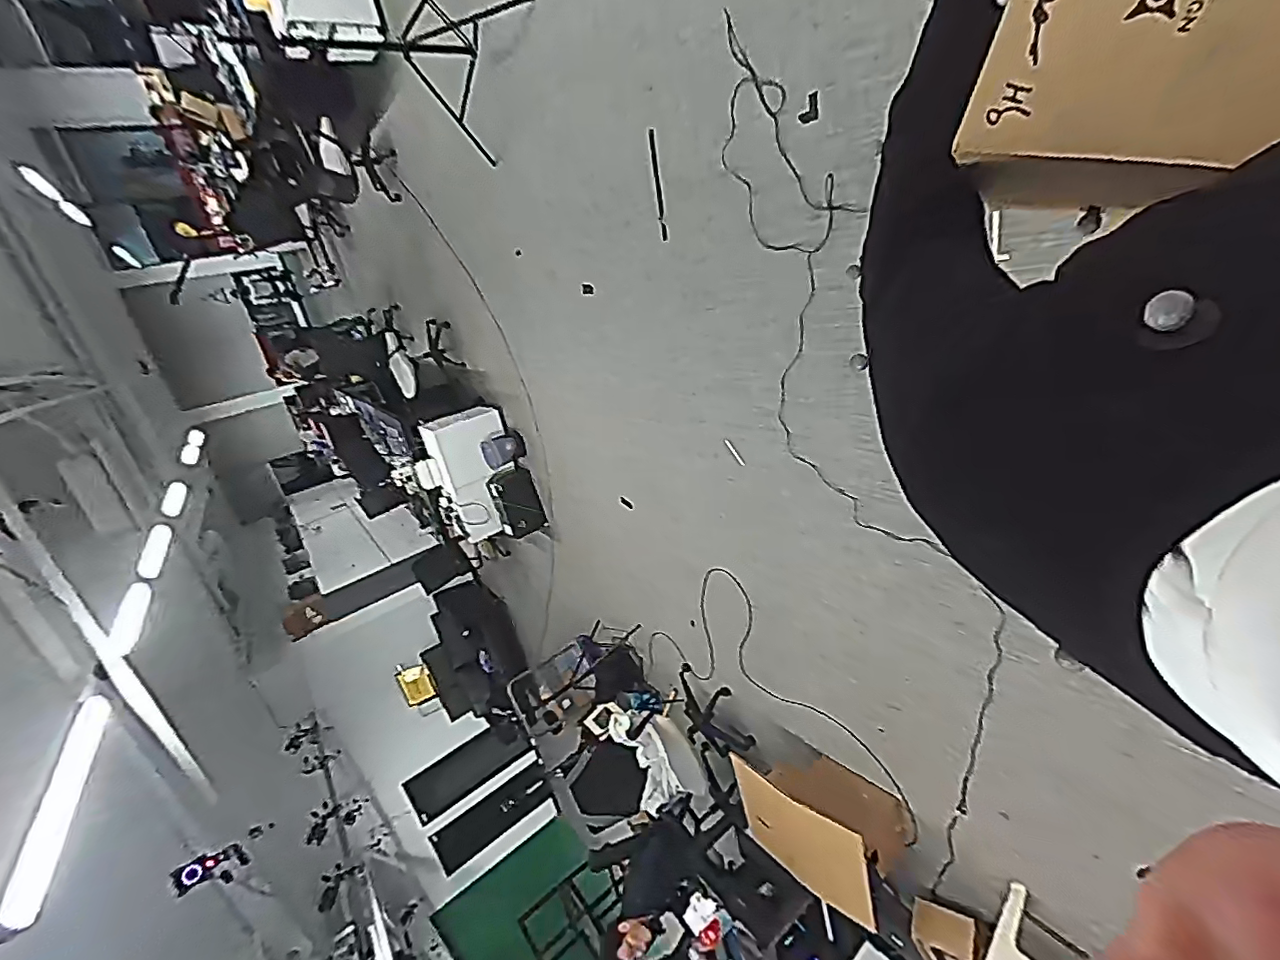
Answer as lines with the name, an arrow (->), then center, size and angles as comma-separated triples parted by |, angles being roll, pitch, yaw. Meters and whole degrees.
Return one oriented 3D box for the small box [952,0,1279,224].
small box -> 0.351, -0.286, 0.368 | 0.179, 0.176, 0.168 | 27, 114, 32
